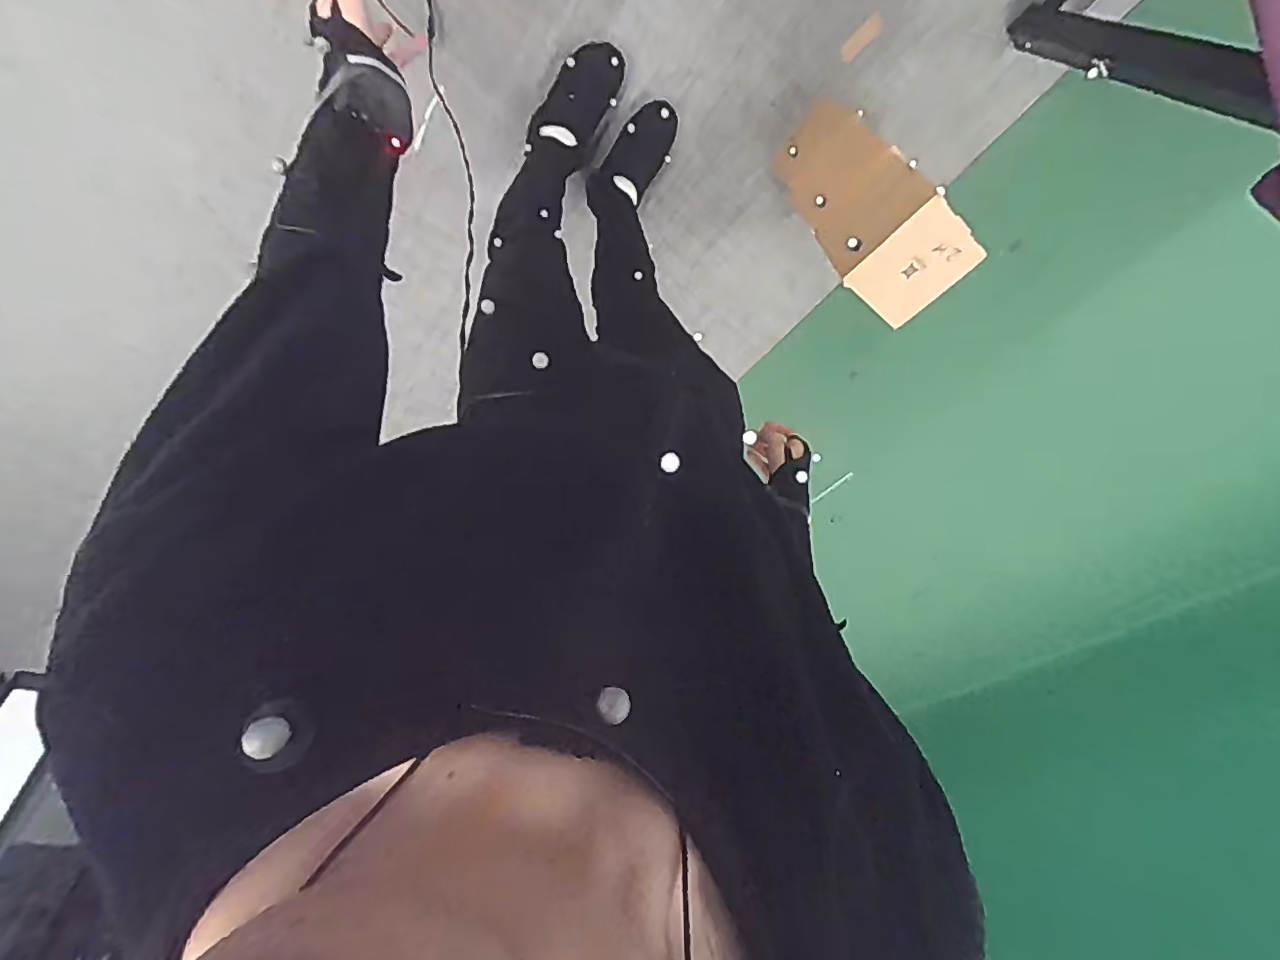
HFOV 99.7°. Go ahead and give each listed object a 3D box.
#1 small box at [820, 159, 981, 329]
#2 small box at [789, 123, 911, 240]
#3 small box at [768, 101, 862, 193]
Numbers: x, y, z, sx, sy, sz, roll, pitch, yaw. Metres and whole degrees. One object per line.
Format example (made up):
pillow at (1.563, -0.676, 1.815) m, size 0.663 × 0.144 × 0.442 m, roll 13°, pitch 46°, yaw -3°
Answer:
small box at (0.436, -0.407, 0.938) m, size 0.168 × 0.176 × 0.179 m, roll 25°, pitch 129°, yaw -31°
small box at (0.416, -0.538, 1.038) m, size 0.168 × 0.176 × 0.179 m, roll 25°, pitch 129°, yaw -30°
small box at (0.399, -0.660, 1.143) m, size 0.179 × 0.176 × 0.168 m, roll 27°, pitch 127°, yaw -32°
